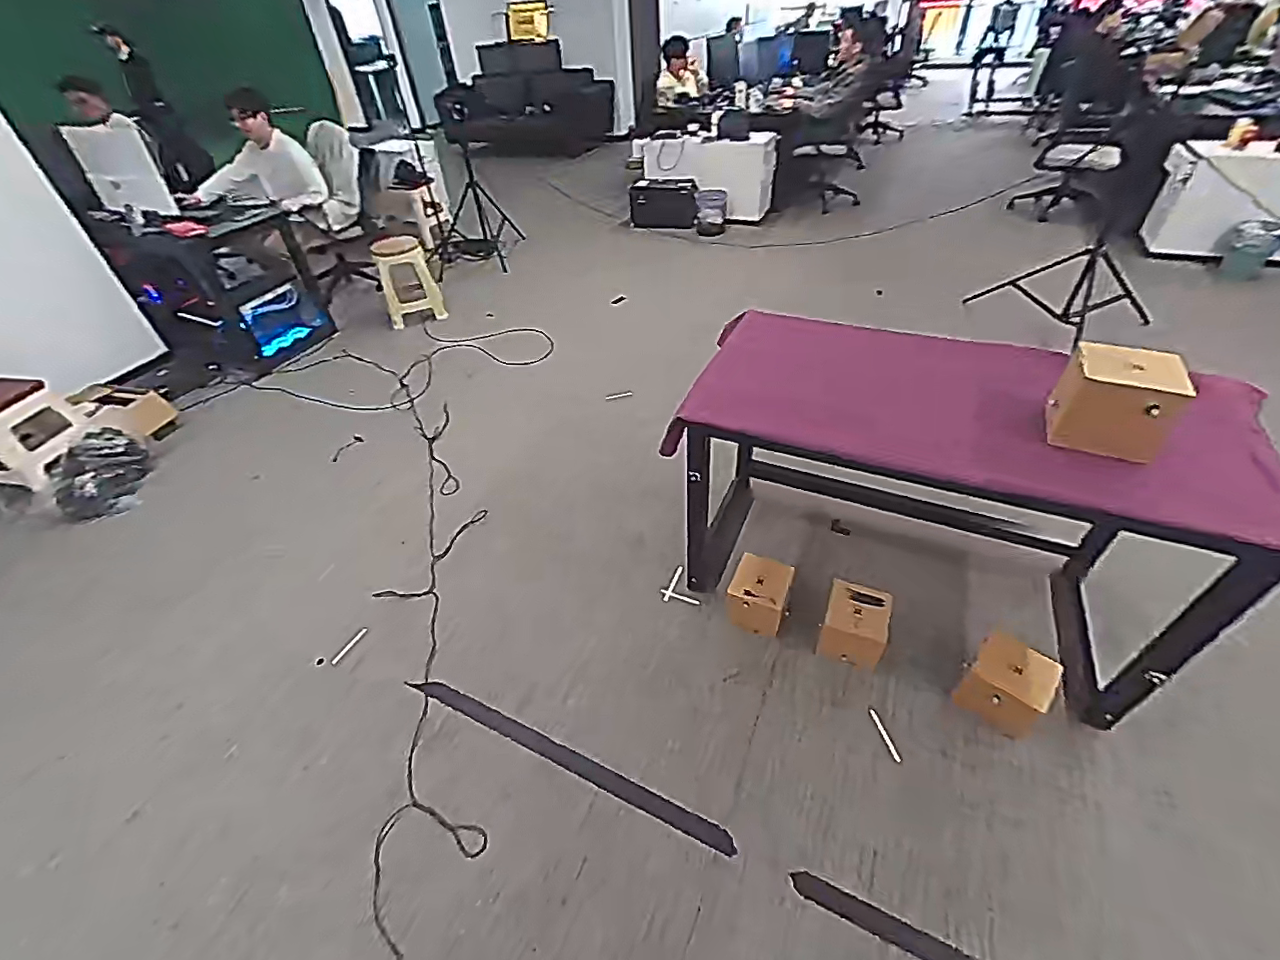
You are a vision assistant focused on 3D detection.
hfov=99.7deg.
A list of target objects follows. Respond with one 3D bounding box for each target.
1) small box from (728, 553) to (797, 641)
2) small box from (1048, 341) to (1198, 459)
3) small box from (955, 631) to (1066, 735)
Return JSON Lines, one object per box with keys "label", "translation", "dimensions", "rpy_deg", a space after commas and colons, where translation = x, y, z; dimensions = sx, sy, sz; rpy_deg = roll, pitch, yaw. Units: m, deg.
{"label": "small box", "translation": [0.379, 0.367, 1.692], "dimensions": [0.168, 0.176, 0.179], "rpy_deg": [16, 45, 22]}
{"label": "small box", "translation": [0.992, -0.166, 1.129], "dimensions": [0.179, 0.176, 0.168], "rpy_deg": [16, 45, 23]}
{"label": "small box", "translation": [0.976, 0.545, 1.436], "dimensions": [0.179, 0.176, 0.168], "rpy_deg": [28, 52, 33]}
